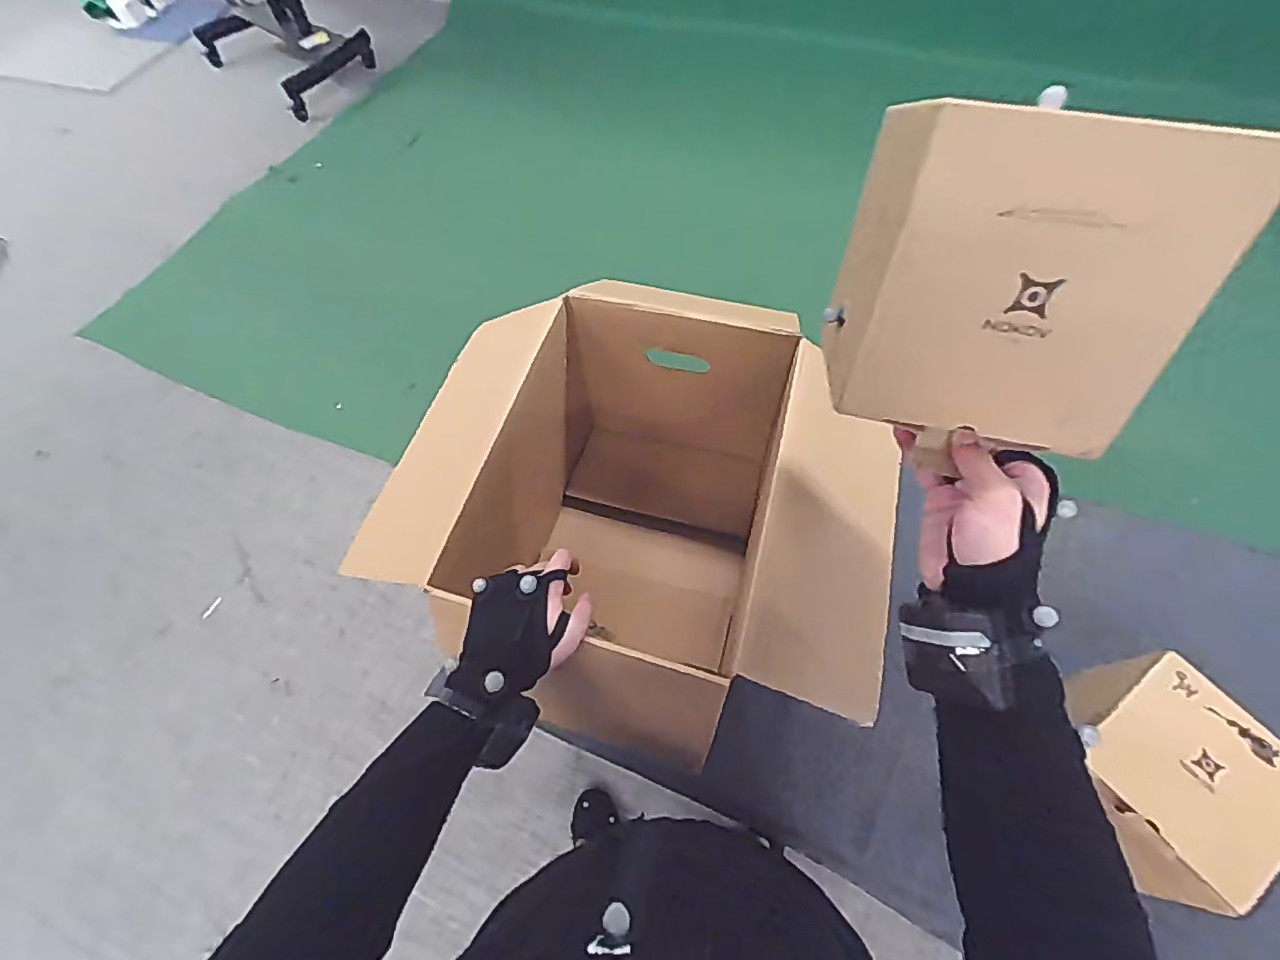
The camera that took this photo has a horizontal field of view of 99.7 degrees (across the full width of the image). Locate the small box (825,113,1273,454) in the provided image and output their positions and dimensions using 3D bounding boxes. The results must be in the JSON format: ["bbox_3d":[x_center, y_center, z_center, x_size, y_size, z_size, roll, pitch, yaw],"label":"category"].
[{"bbox_3d":[0.236,-0.145,0.381,0.168,0.179,0.176,10,34,7],"label":"small box"}]

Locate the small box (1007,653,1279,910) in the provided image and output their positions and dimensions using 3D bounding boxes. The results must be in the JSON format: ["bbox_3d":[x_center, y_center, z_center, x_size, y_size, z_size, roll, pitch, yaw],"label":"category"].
[{"bbox_3d":[0.561,0.328,0.609,0.179,0.176,0.168,-33,64,-13],"label":"small box"}]
